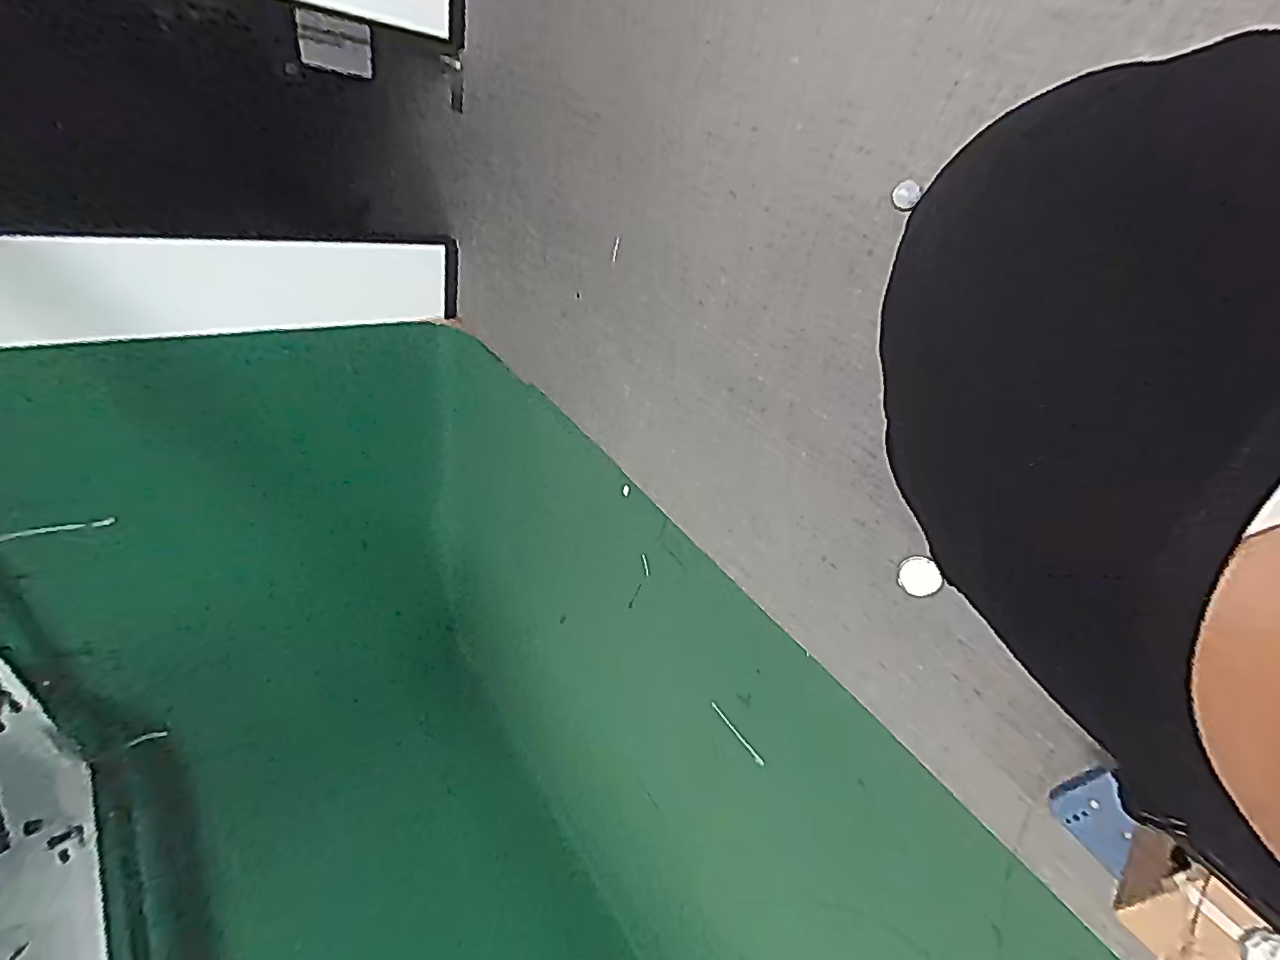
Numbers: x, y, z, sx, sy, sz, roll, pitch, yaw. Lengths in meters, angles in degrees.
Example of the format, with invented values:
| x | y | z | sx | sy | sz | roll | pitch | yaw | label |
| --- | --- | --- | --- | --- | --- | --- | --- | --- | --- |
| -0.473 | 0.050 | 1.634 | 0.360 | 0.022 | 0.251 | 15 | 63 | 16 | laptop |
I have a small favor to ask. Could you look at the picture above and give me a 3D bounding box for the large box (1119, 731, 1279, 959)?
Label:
| x | y | z | sx | sy | sz | roll | pitch | yaw | label |
| --- | --- | --- | --- | --- | --- | --- | --- | --- | --- |
| 1.091 | 0.699 | 0.839 | 0.408 | 0.320 | 0.320 | 42 | 133 | 31 | large box |
